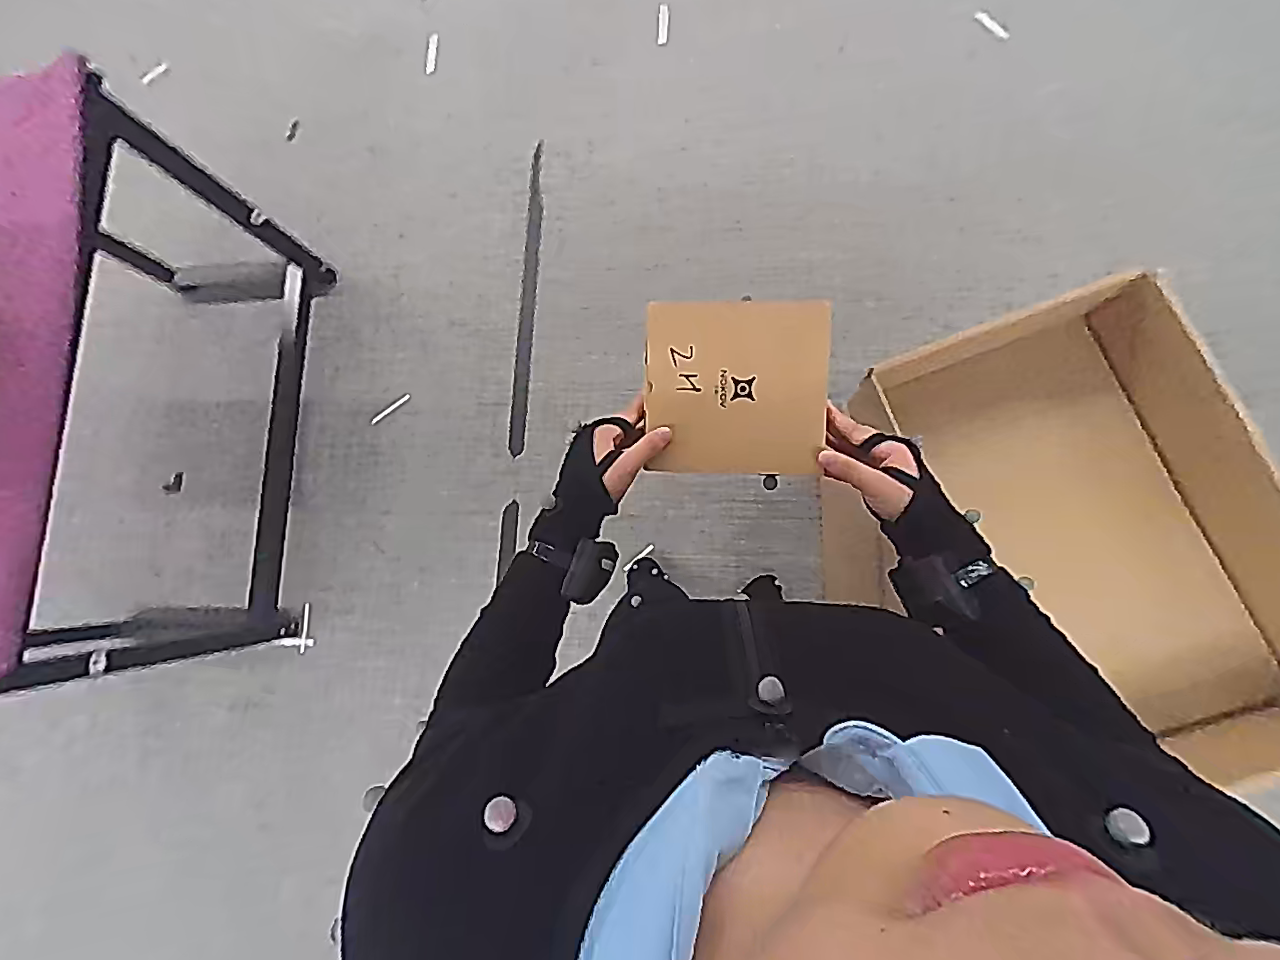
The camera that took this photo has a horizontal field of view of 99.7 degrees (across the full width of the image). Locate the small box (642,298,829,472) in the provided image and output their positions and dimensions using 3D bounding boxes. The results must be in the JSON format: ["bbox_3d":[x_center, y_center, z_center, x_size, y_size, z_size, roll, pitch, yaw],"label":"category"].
[{"bbox_3d":[0.099,-0.096,0.597,0.179,0.176,0.168,1,92,8],"label":"small box"}]
